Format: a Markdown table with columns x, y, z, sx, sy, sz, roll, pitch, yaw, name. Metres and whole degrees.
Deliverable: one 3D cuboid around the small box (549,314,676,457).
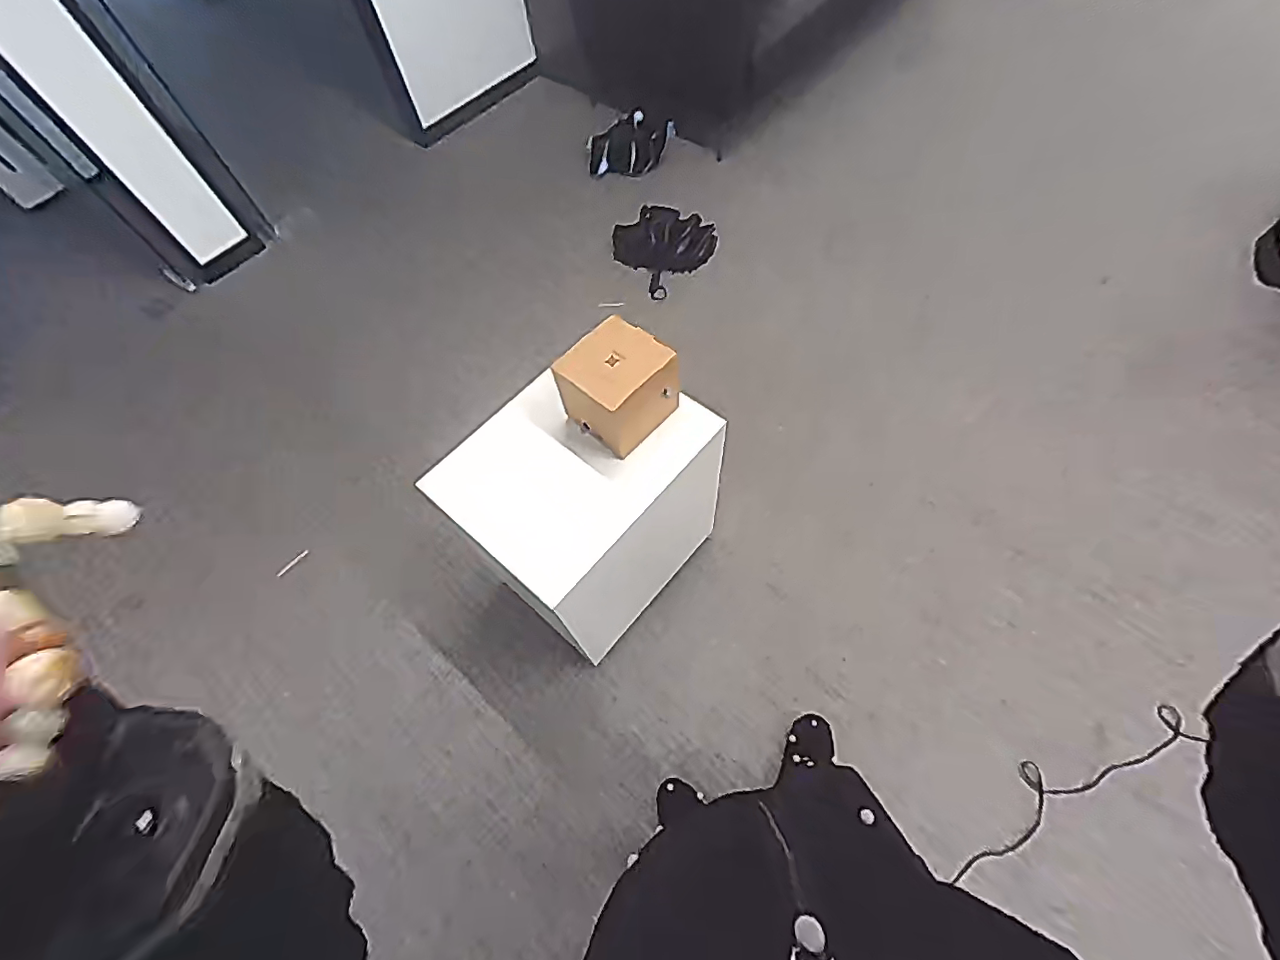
| x | y | z | sx | sy | sz | roll | pitch | yaw | name |
| --- | --- | --- | --- | --- | --- | --- | --- | --- | --- |
| -0.046 | -0.180 | 1.054 | 0.168 | 0.176 | 0.179 | 37 | 72 | 23 | small box |
